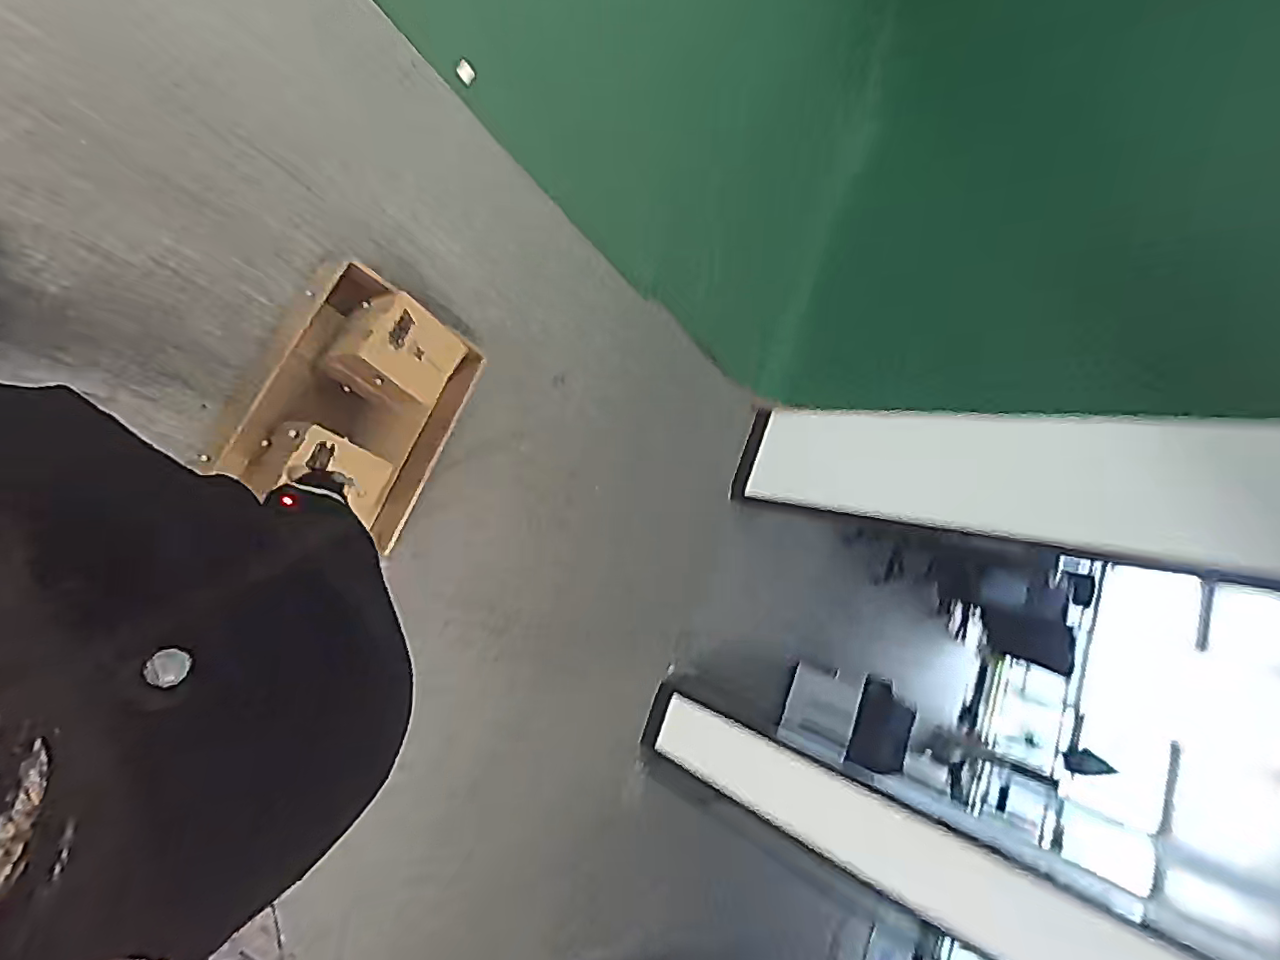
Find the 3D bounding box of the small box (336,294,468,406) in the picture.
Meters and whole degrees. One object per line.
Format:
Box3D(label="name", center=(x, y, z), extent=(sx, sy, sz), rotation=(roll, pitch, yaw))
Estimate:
Box3D(label="small box", center=(-0.523, -0.278, 1.184), extent=(0.179, 0.176, 0.168), rotation=(44, 67, -42))
